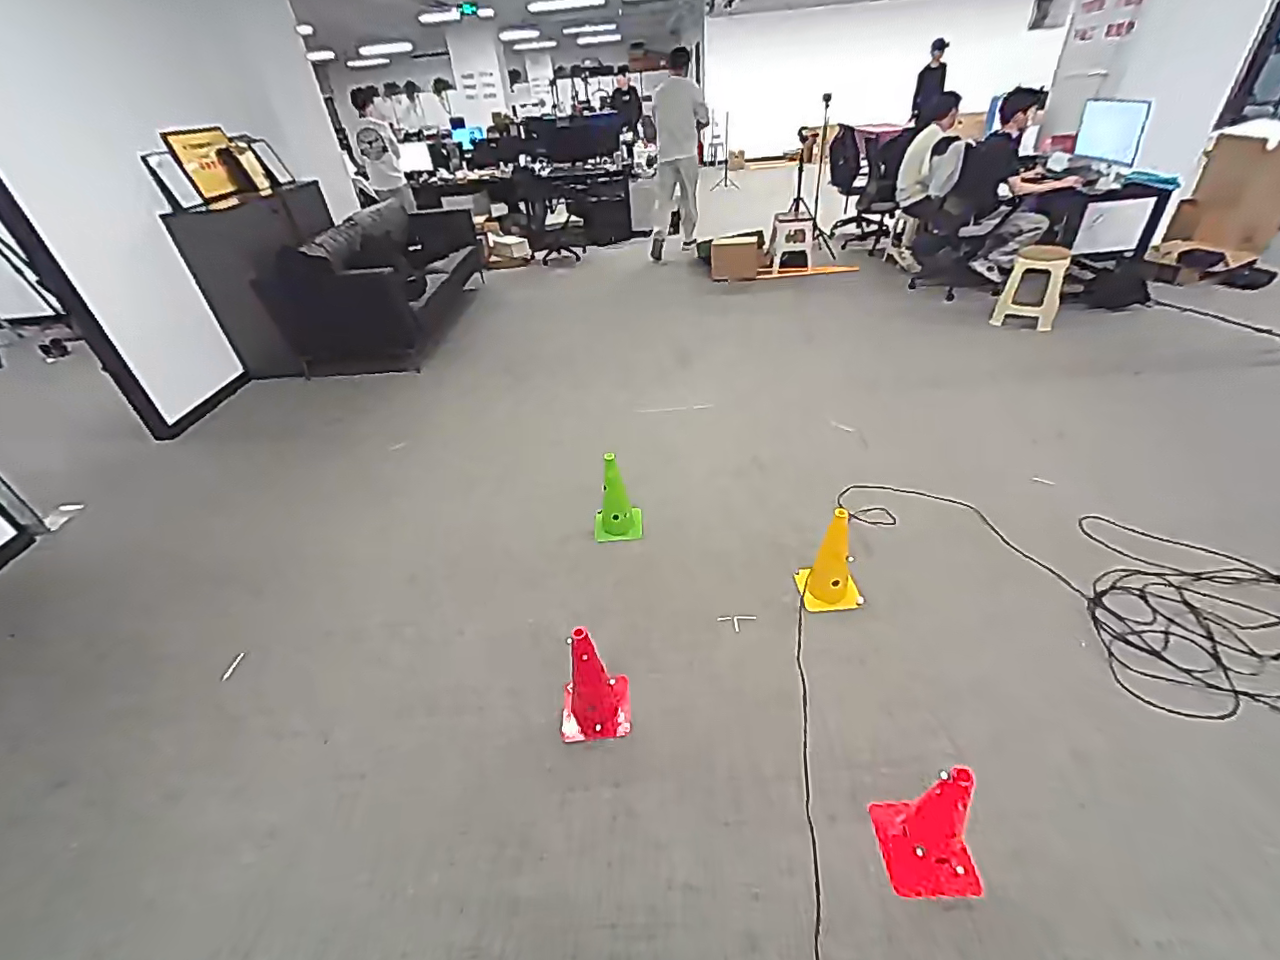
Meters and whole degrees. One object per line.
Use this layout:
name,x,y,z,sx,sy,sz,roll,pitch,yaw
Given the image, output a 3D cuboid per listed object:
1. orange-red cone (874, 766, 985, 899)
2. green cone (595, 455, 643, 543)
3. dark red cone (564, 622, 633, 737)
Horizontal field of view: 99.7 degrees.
orange-red cone,0.664,0.729,1.177,0.198,0.360,0.199,-3,35,3
green cone,-0.099,0.060,2.218,0.202,0.368,0.200,-4,36,1
dark red cone,-0.139,0.538,1.519,0.202,0.394,0.201,-7,37,-1
